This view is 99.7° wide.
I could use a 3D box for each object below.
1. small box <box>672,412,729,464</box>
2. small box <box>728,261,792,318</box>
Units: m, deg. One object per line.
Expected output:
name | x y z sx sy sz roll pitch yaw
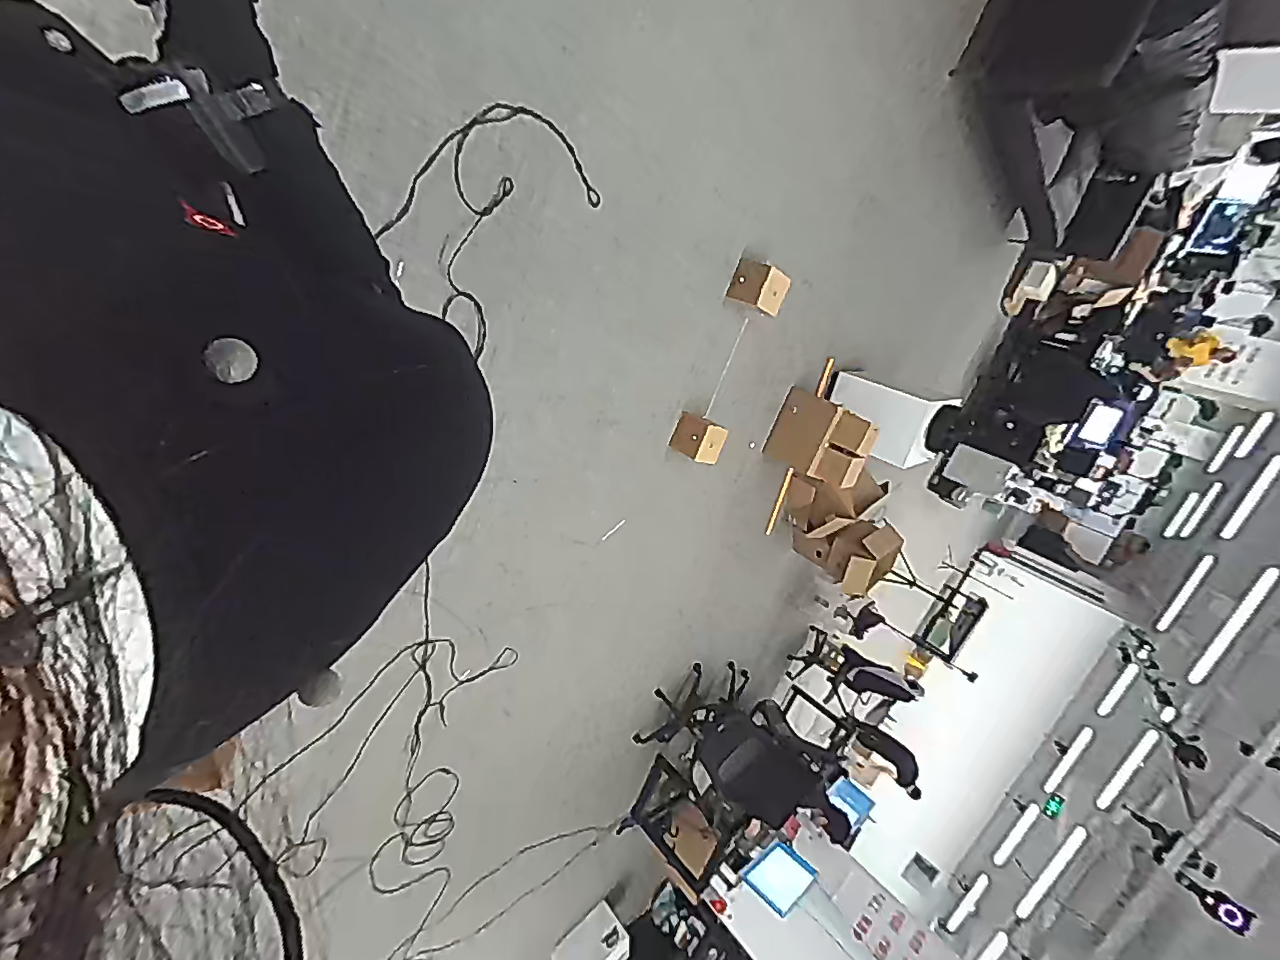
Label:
small box | 0.270 -0.193 2.471 0.168 0.176 0.179 5 111 -49
small box | 0.505 -0.811 2.293 0.179 0.176 0.168 5 112 -49
